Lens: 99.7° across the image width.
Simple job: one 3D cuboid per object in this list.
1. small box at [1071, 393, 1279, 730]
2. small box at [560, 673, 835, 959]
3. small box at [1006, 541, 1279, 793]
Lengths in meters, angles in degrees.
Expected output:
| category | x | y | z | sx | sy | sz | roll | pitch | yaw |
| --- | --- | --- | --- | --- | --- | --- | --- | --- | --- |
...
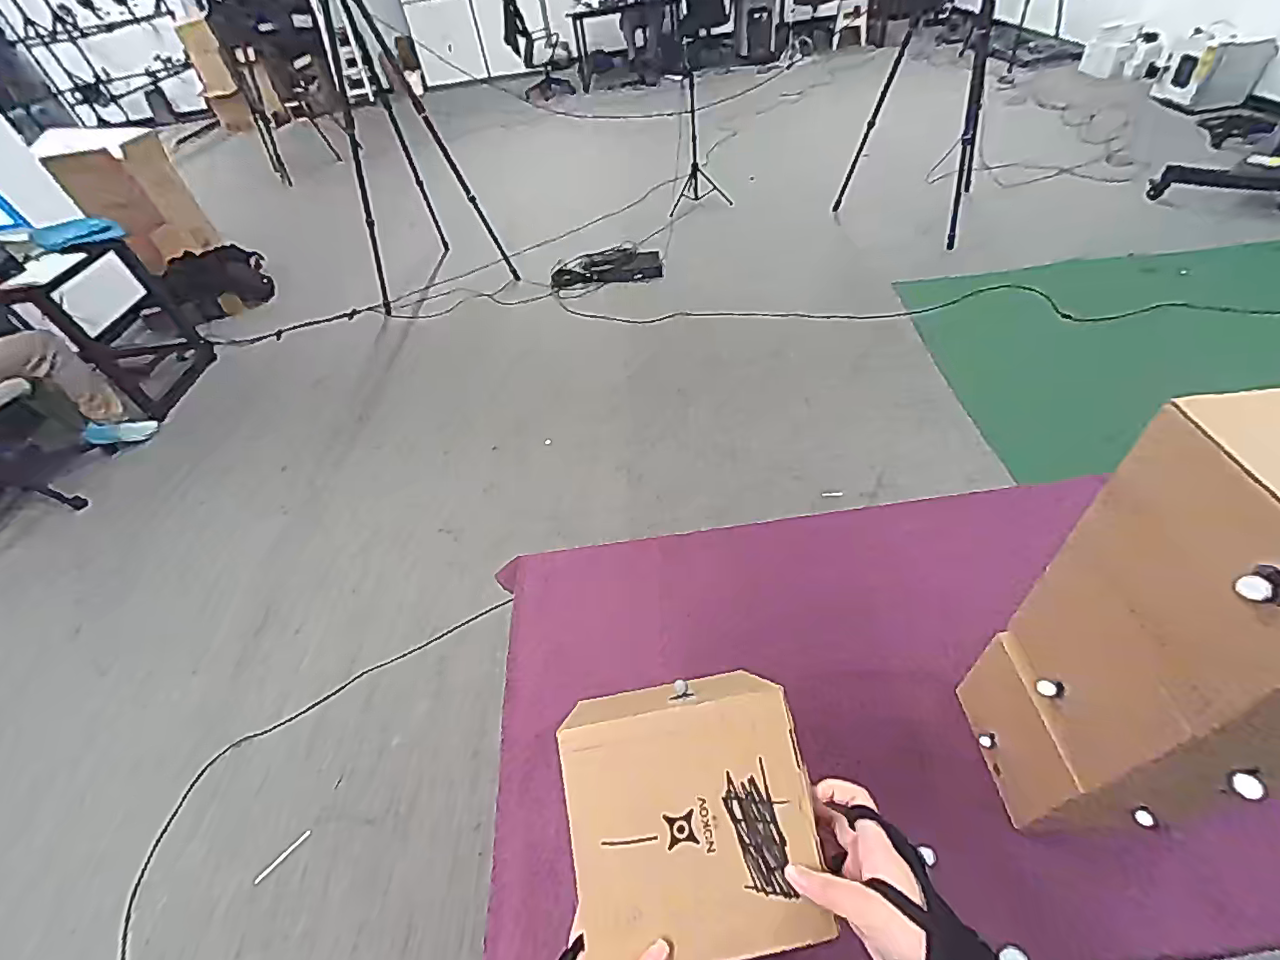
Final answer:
| category | x | y | z | sx | sy | sz | roll | pitch | yaw |
| --- | --- | --- | --- | --- | --- | --- | --- | --- | --- |
| small box | 0.454 | 0.058 | 0.368 | 0.168 | 0.176 | 0.179 | -5 | 46 | 6 |
| small box | 0.036 | 0.269 | 0.462 | 0.179 | 0.176 | 0.168 | -9 | 75 | -2 |
| small box | 0.477 | 0.169 | 0.489 | 0.168 | 0.176 | 0.179 | -4 | 47 | 6 |
